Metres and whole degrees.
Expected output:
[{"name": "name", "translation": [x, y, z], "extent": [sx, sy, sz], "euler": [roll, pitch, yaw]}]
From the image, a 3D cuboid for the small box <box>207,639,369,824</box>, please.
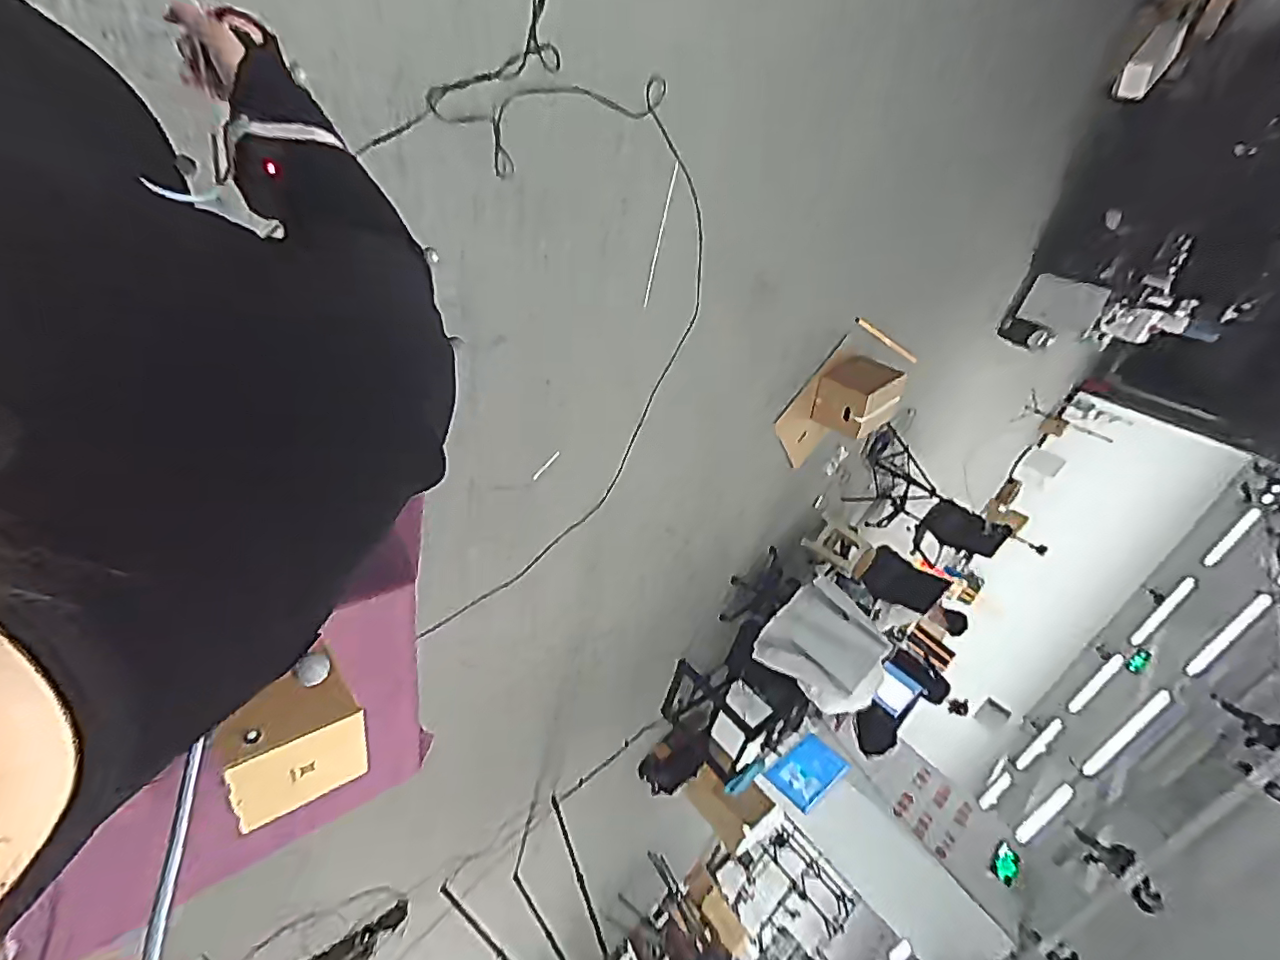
[{"name": "small box", "translation": [-0.556, 0.386, 0.863], "extent": [0.179, 0.176, 0.168], "euler": [-15, 131, -39]}]
